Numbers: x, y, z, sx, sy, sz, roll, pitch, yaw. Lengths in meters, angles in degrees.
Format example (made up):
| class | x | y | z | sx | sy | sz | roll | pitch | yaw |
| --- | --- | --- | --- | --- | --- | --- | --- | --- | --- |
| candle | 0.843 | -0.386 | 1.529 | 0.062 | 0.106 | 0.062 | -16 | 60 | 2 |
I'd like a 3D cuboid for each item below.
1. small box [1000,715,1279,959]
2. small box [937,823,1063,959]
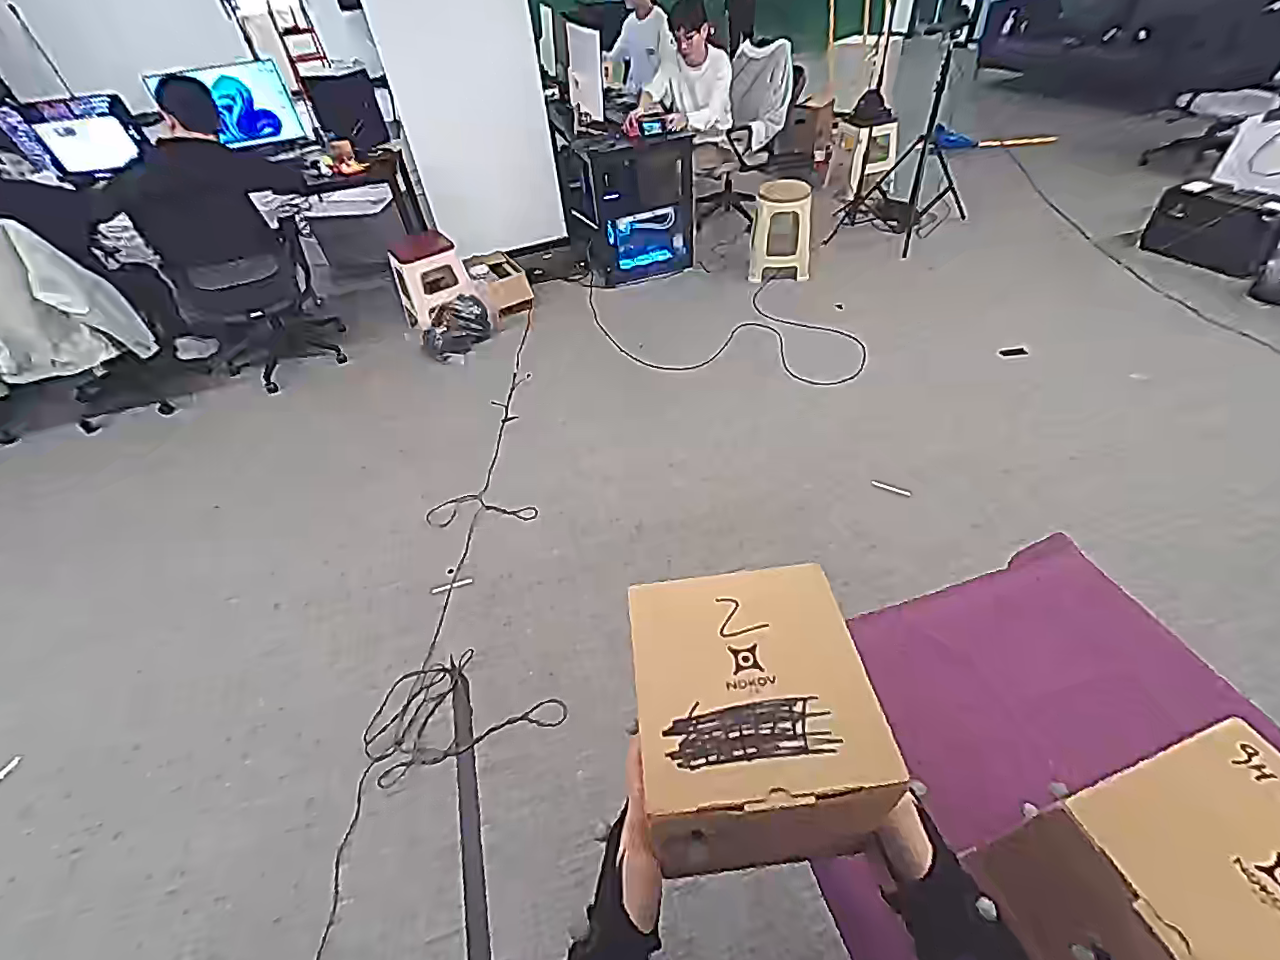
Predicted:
| class | x | y | z | sx | sy | sz | roll | pitch | yaw |
| --- | --- | --- | --- | --- | --- | --- | --- | --- | --- |
| small box | 0.416 | 0.316 | 0.408 | 0.179 | 0.176 | 0.168 | -17 | 47 | -11 |
| small box | 0.421 | 0.433 | 0.523 | 0.179 | 0.176 | 0.168 | -14 | 46 | -9 |
